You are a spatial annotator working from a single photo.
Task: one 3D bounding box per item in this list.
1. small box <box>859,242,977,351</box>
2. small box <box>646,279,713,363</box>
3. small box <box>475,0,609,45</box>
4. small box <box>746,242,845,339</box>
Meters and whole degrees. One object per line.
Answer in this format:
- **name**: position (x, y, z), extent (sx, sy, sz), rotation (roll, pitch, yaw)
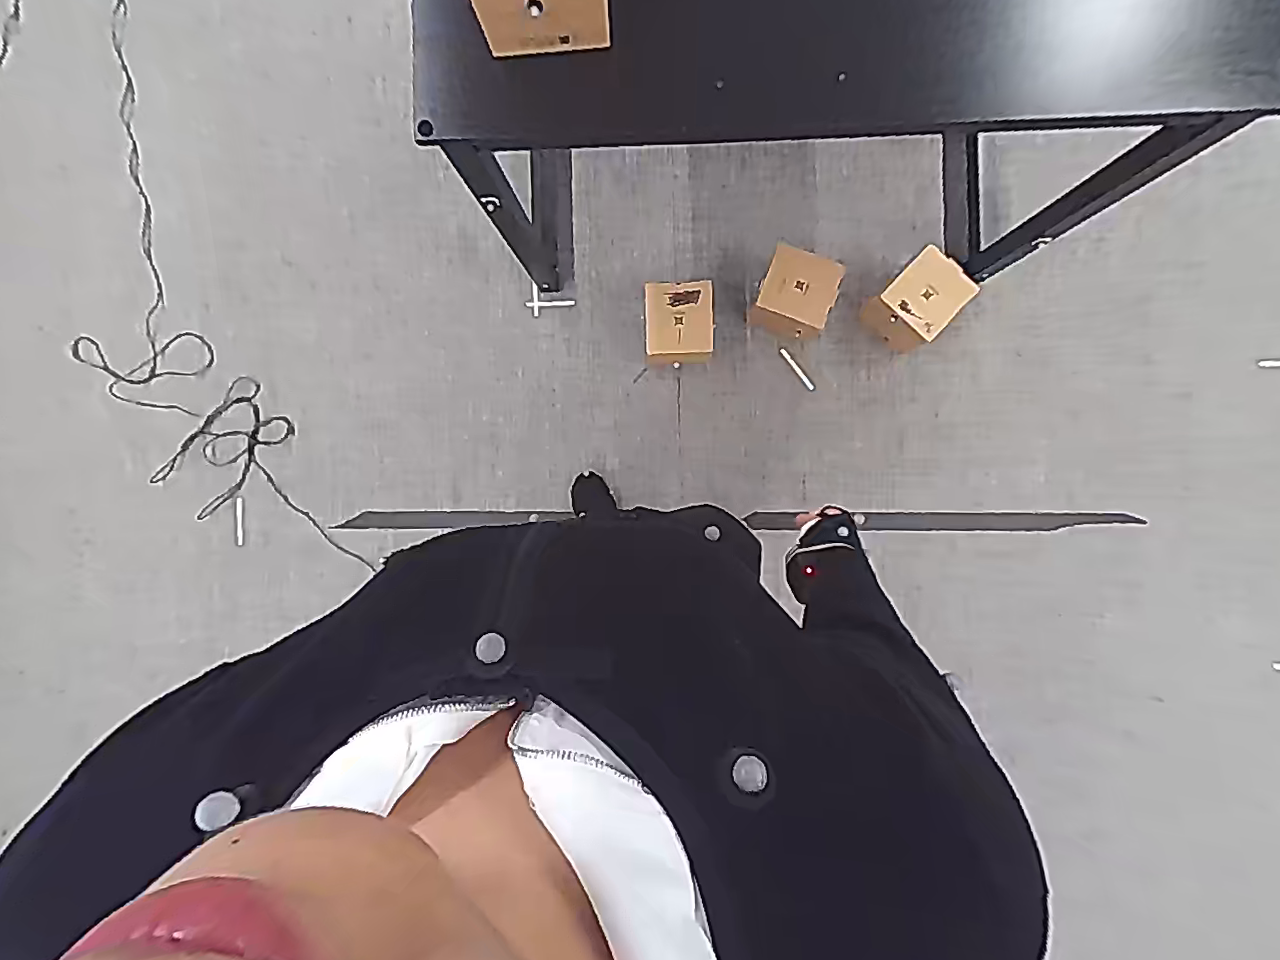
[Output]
- **small box**: position (0.693, -0.456, 1.373), extent (0.168, 0.176, 0.179), rotation (43, 93, 1)
- **small box**: position (0.098, -0.407, 1.401), extent (0.168, 0.176, 0.179), rotation (-1, 93, 3)
- **small box**: position (-0.130, -0.684, 0.671), extent (0.168, 0.176, 0.179), rotation (-3, 91, 2)
- **small box**: position (0.391, -0.476, 1.388), extent (0.179, 0.176, 0.168), rotation (20, 92, 3)
